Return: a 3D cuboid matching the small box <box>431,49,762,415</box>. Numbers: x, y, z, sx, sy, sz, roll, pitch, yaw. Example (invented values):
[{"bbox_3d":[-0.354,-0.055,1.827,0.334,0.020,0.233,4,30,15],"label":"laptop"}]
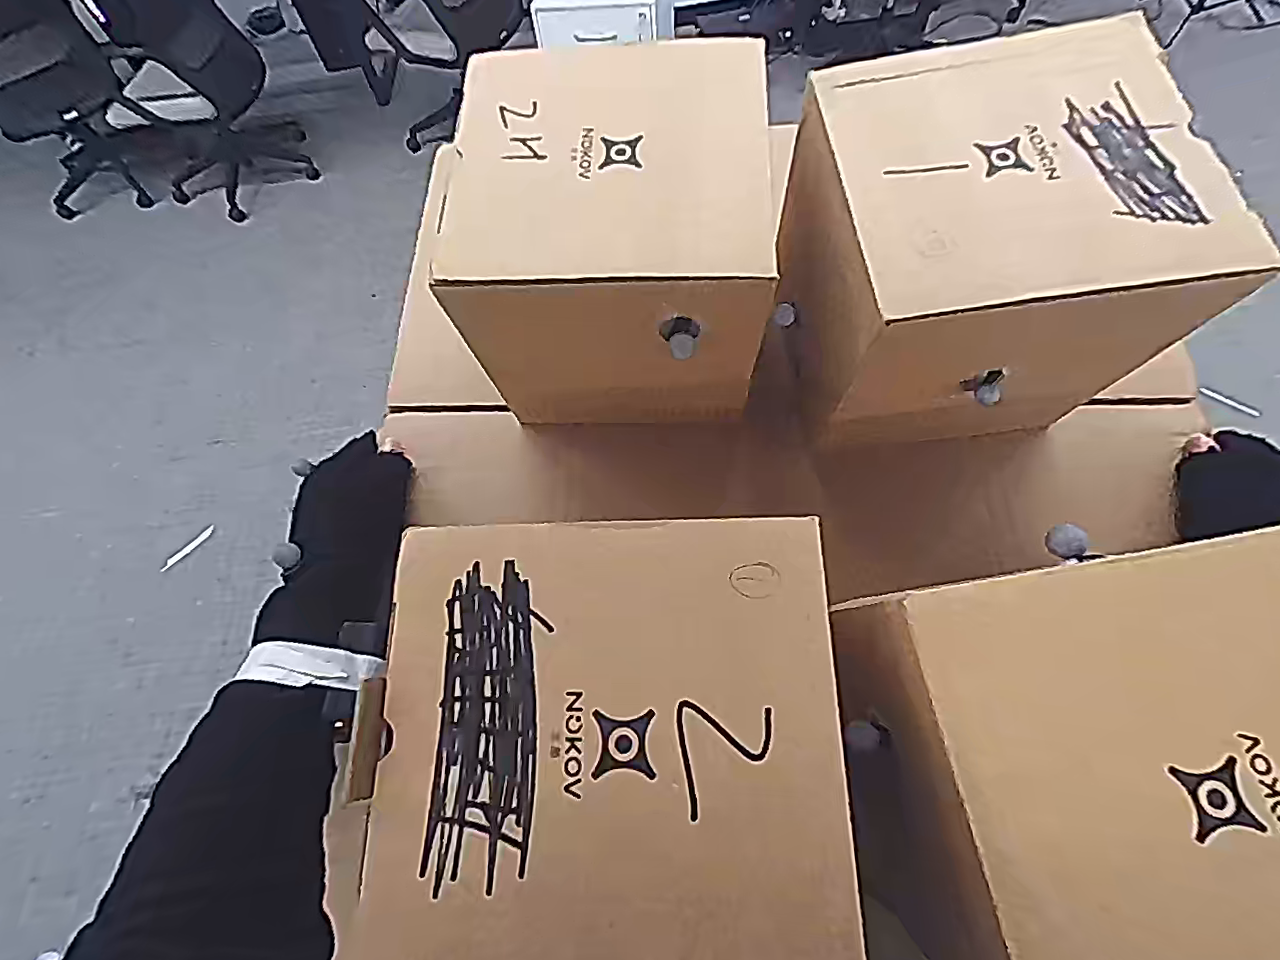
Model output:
[{"bbox_3d":[-0.015,-0.155,0.379,0.179,0.176,0.168,1,71,5],"label":"small box"}]
